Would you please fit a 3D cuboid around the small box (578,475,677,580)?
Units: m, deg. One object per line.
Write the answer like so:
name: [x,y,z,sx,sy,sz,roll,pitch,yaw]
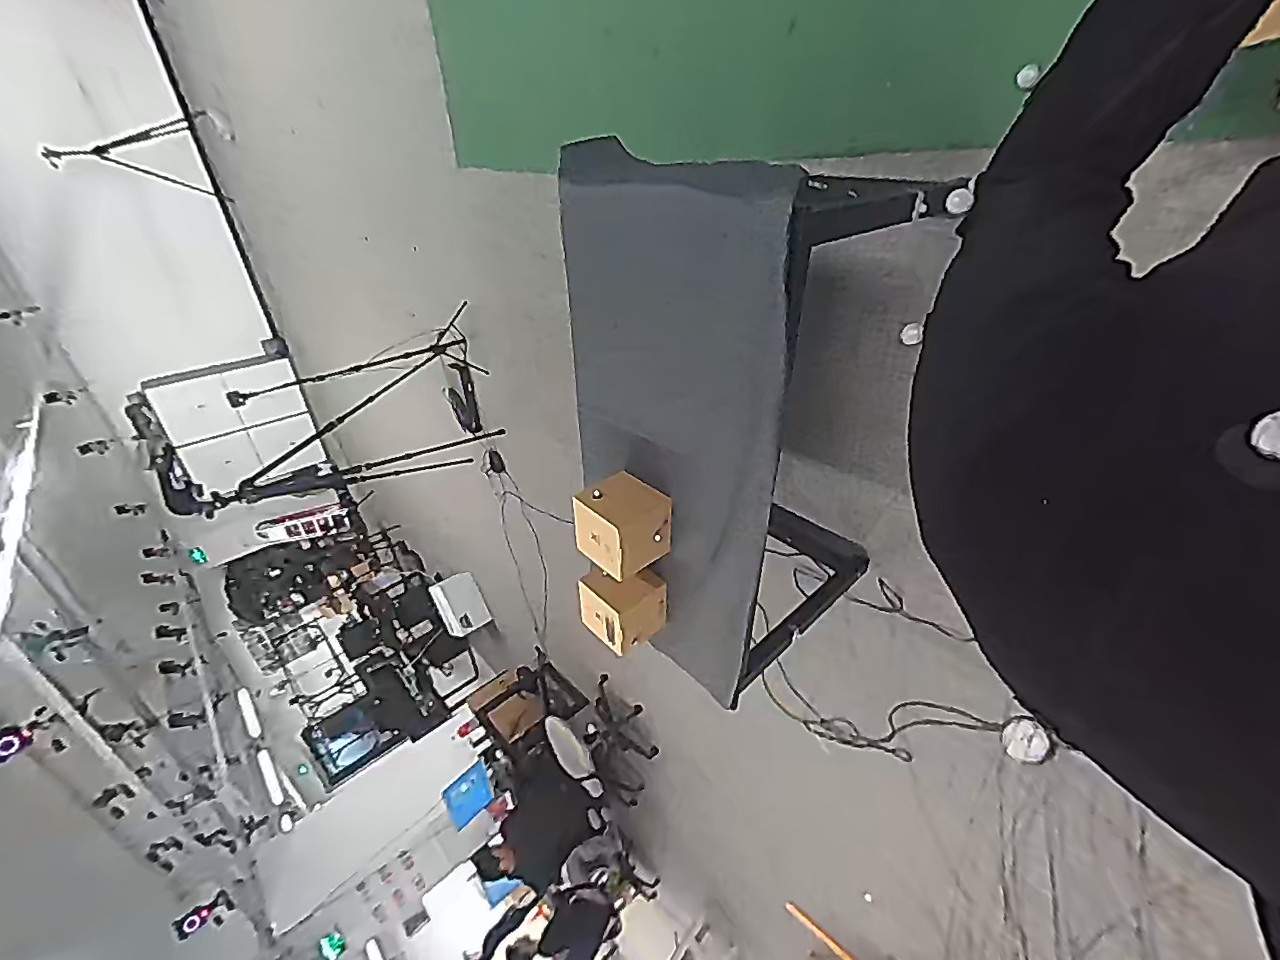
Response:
small box: [-0.032,0.107,1.328,0.179,0.176,0.168,30,134,38]
